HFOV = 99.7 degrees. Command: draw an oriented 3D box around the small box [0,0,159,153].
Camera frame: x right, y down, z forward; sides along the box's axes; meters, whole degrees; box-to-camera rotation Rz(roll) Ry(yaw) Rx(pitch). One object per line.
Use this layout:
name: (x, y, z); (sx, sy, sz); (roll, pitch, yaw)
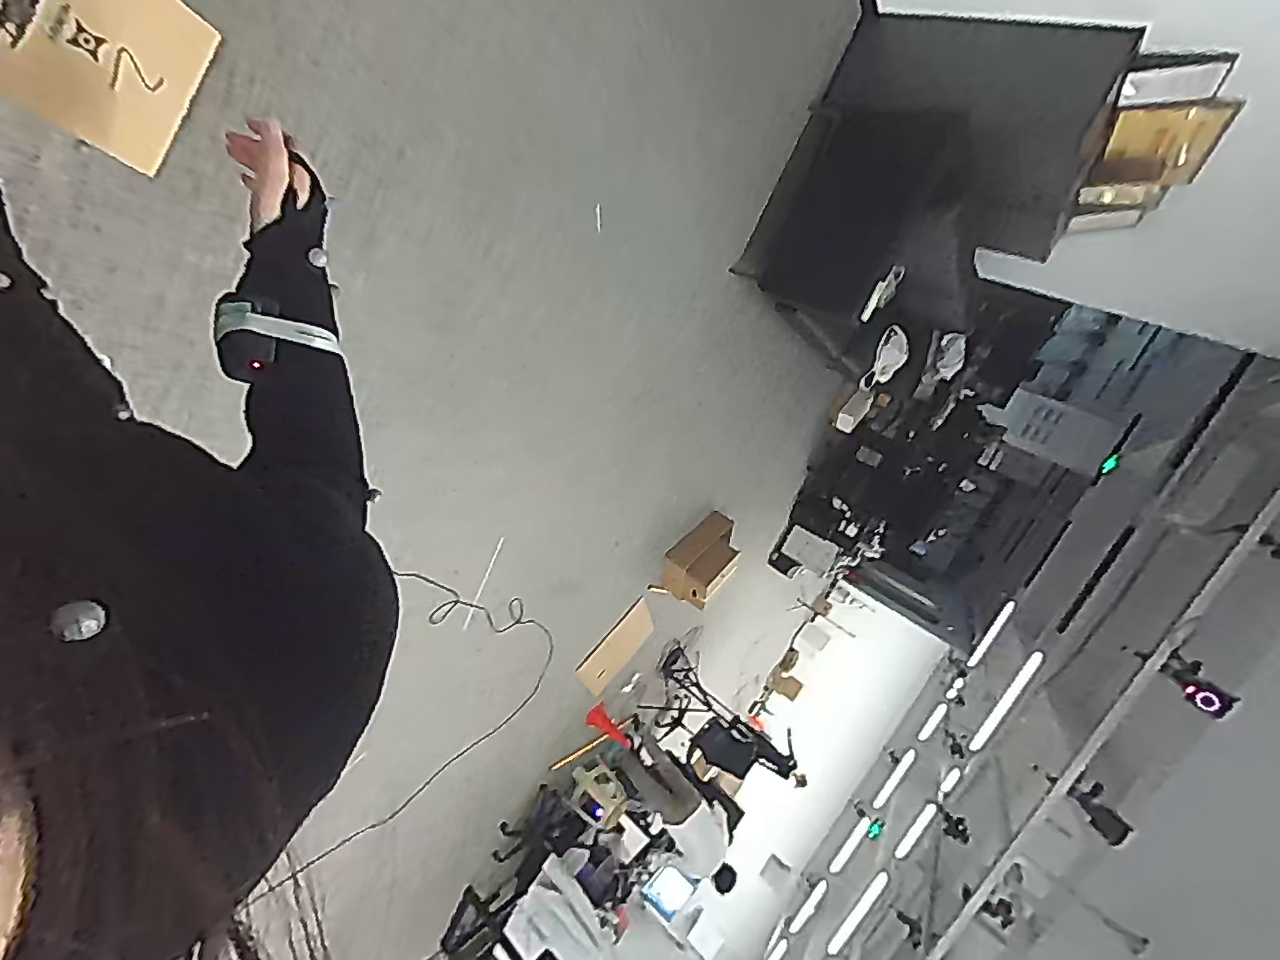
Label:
small box: (-0.693, -0.511, 0.604); (0.168, 0.176, 0.179); (13, 105, -61)
